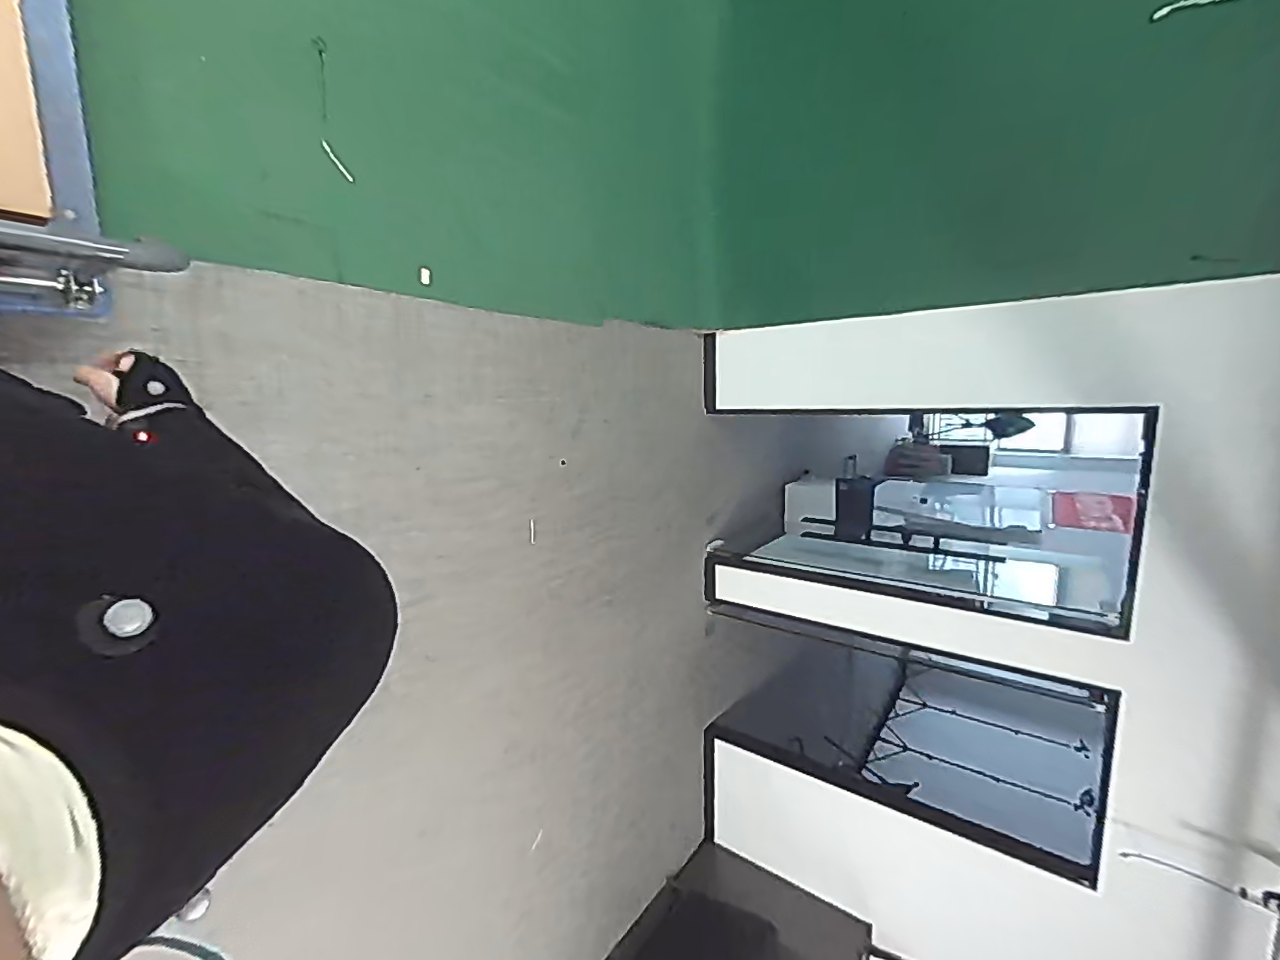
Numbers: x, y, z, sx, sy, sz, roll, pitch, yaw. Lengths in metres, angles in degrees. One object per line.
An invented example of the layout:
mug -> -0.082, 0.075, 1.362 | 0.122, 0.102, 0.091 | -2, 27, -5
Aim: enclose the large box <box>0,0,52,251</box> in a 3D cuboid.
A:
large box -> -1.094, -0.575, 0.745 | 0.320, 0.320, 0.408 | -13, 103, -53
